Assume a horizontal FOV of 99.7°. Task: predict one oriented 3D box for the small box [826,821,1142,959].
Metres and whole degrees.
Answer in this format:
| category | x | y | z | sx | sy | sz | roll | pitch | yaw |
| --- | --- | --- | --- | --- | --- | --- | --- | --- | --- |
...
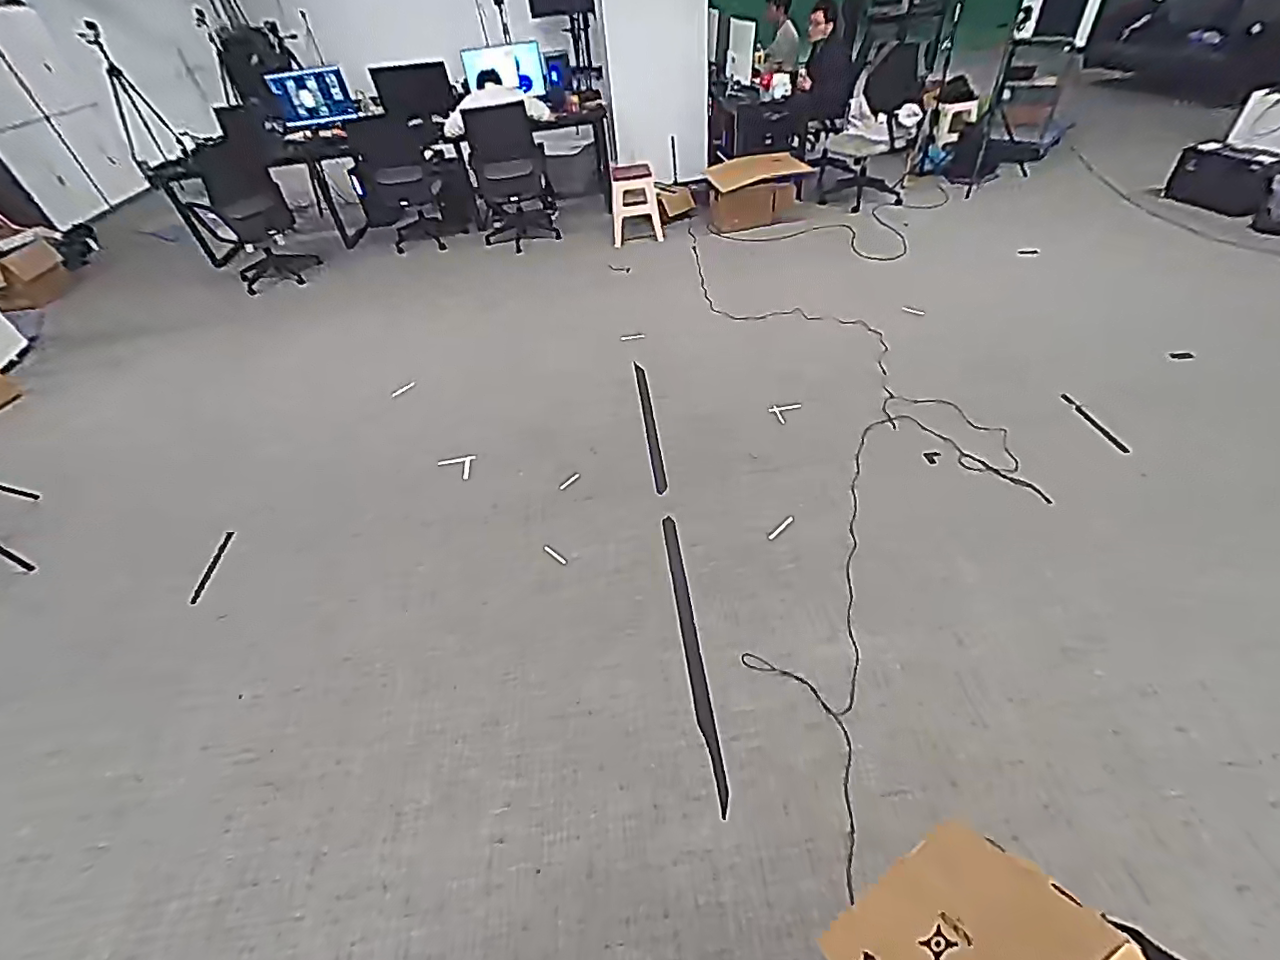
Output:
| category | x | y | z | sx | sy | sz | roll | pitch | yaw |
| --- | --- | --- | --- | --- | --- | --- | --- | --- | --- |
| small box | 0.294 | 0.434 | 0.430 | 0.179 | 0.168 | 0.176 | -32 | 86 | -10 |
